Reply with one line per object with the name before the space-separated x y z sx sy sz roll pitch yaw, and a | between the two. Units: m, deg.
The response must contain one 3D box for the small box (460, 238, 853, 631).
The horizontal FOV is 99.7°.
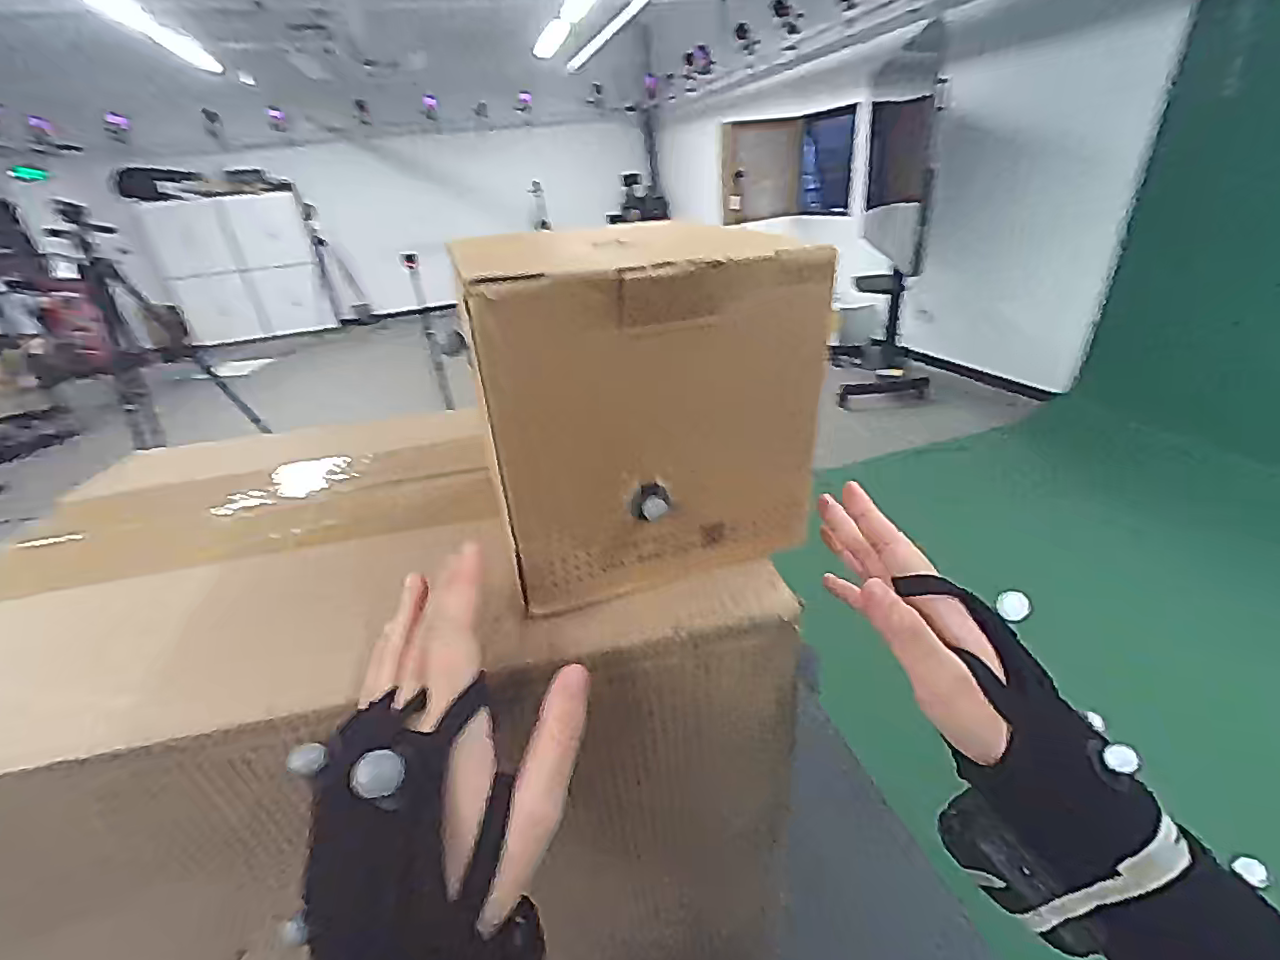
small box | -0.007 -0.043 0.325 0.168 0.176 0.179 -12 32 -15
